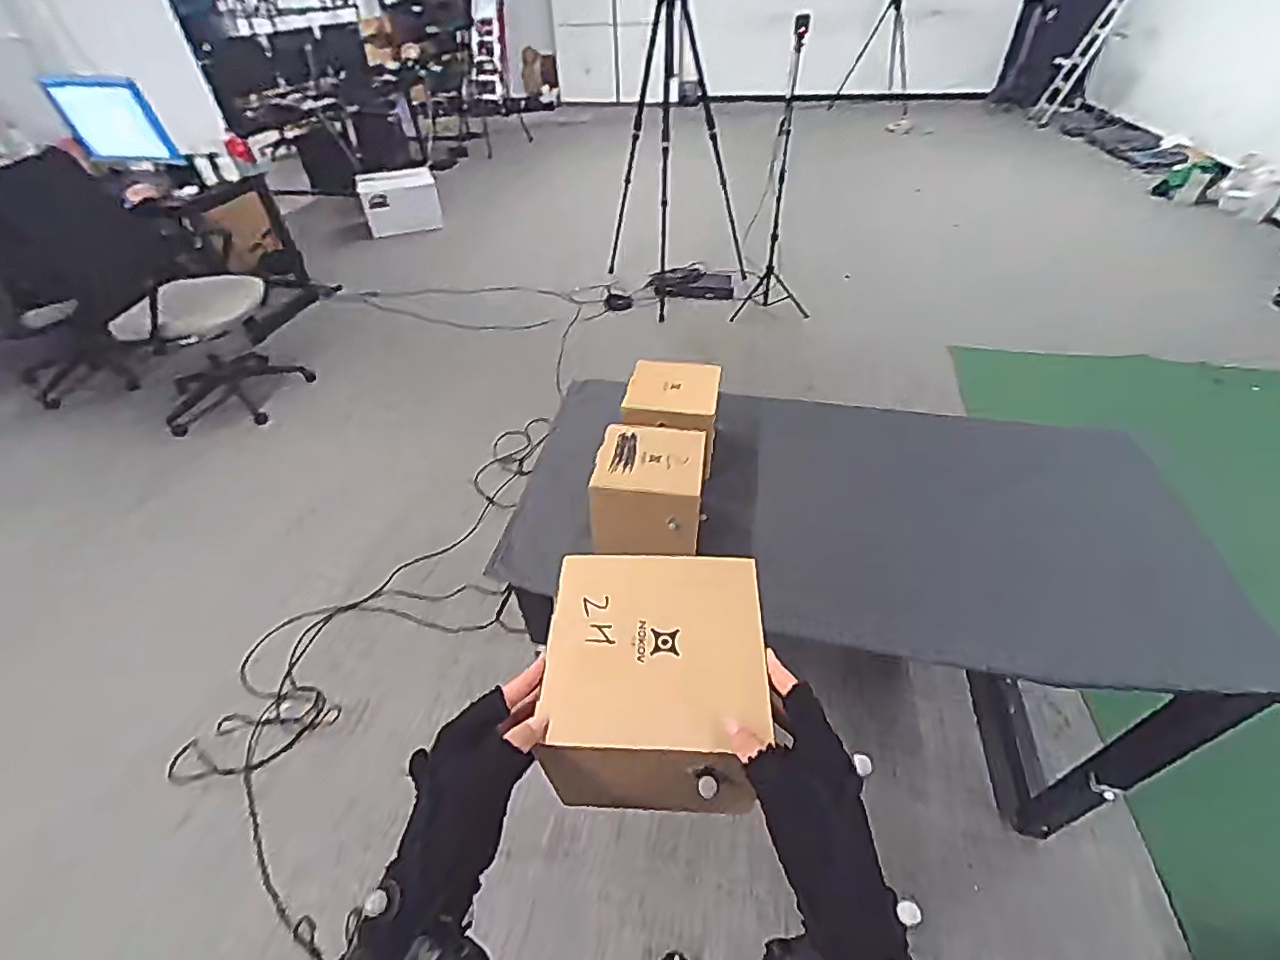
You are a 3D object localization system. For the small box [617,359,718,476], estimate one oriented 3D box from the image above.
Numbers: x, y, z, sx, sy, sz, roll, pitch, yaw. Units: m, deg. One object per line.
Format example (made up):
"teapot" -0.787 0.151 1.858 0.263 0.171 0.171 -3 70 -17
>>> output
"small box" 0.059 -0.124 1.096 0.179 0.176 0.168 5 44 9

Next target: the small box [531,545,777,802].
"small box" 0.018 0.177 0.491 0.179 0.176 0.168 0 46 5
